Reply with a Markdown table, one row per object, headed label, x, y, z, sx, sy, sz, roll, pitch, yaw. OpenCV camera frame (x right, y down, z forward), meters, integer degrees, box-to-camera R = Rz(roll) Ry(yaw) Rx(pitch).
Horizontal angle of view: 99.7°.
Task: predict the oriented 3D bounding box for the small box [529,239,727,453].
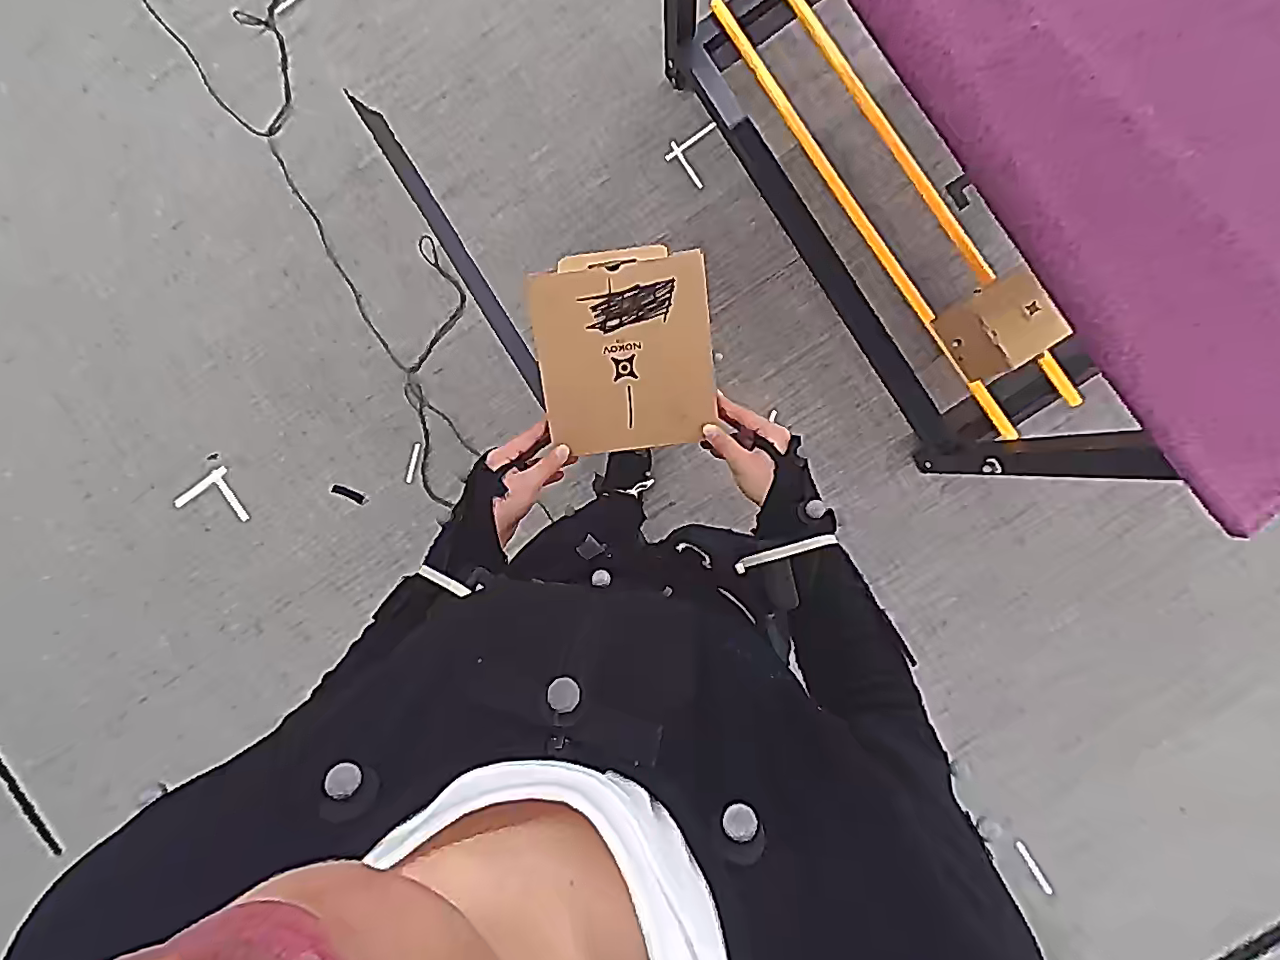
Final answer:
| label | x | y | z | sx | sy | sz | roll | pitch | yaw |
| --- | --- | --- | --- | --- | --- | --- | --- | --- | --- |
| small box | -0.005 | -0.130 | 0.577 | 0.168 | 0.176 | 0.179 | -8 | 97 | 6 |

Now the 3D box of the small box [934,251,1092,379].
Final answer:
| label | x | y | z | sx | sy | sz | roll | pitch | yaw |
| --- | --- | --- | --- | --- | --- | --- | --- | --- | --- |
| small box | 0.758 | -0.331 | 1.120 | 0.179 | 0.176 | 0.168 | -34 | 89 | 5 |
